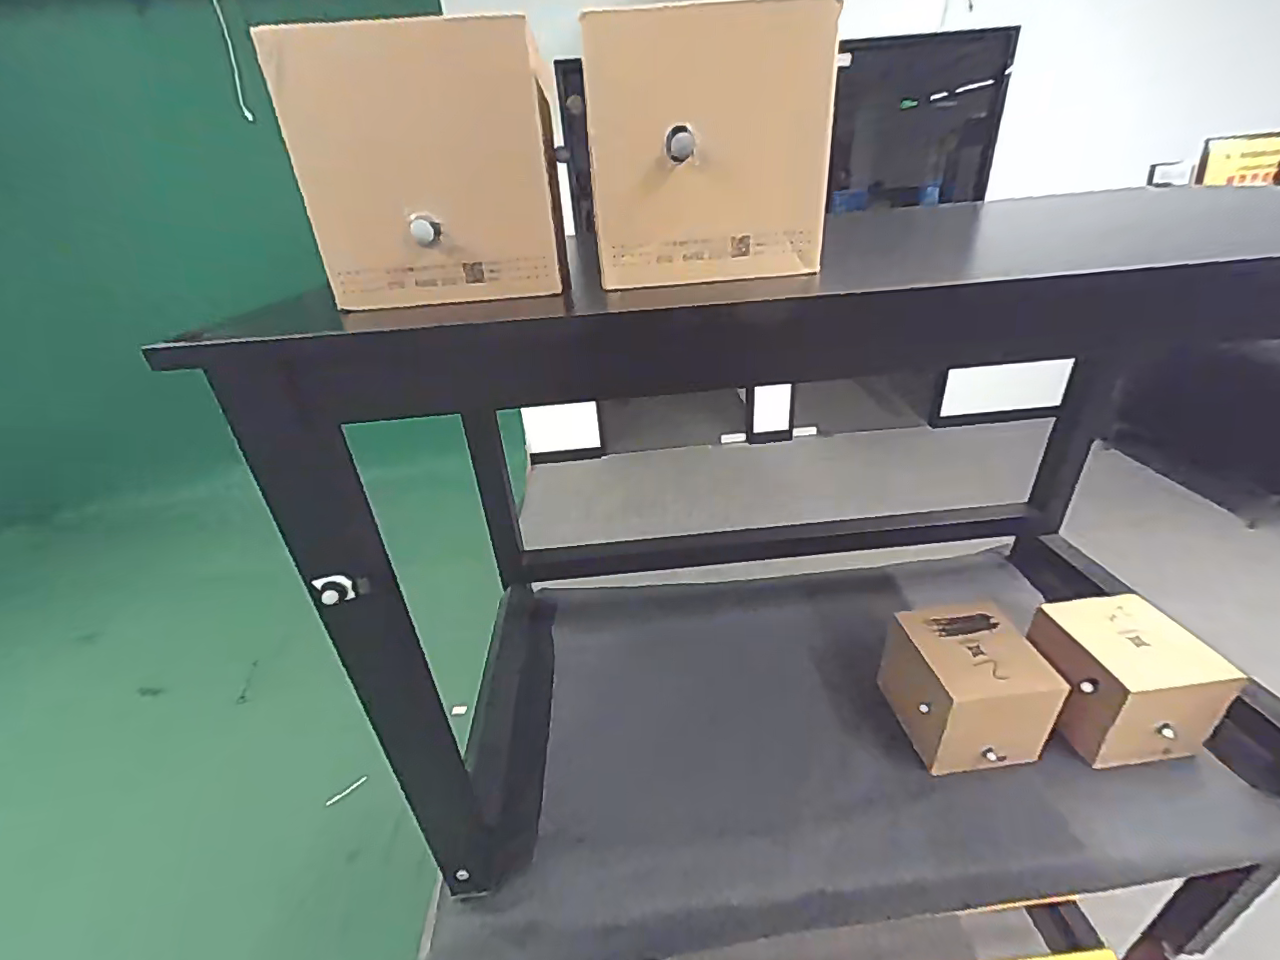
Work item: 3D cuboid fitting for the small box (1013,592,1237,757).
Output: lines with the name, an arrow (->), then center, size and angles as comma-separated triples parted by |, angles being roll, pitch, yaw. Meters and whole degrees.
small box -> 0.728, 0.303, 0.839 | 0.168, 0.176, 0.179 | -6, 28, -3

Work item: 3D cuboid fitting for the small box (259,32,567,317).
small box -> -0.154, -0.237, 0.442 | 0.168, 0.176, 0.179 | -6, 30, -2
